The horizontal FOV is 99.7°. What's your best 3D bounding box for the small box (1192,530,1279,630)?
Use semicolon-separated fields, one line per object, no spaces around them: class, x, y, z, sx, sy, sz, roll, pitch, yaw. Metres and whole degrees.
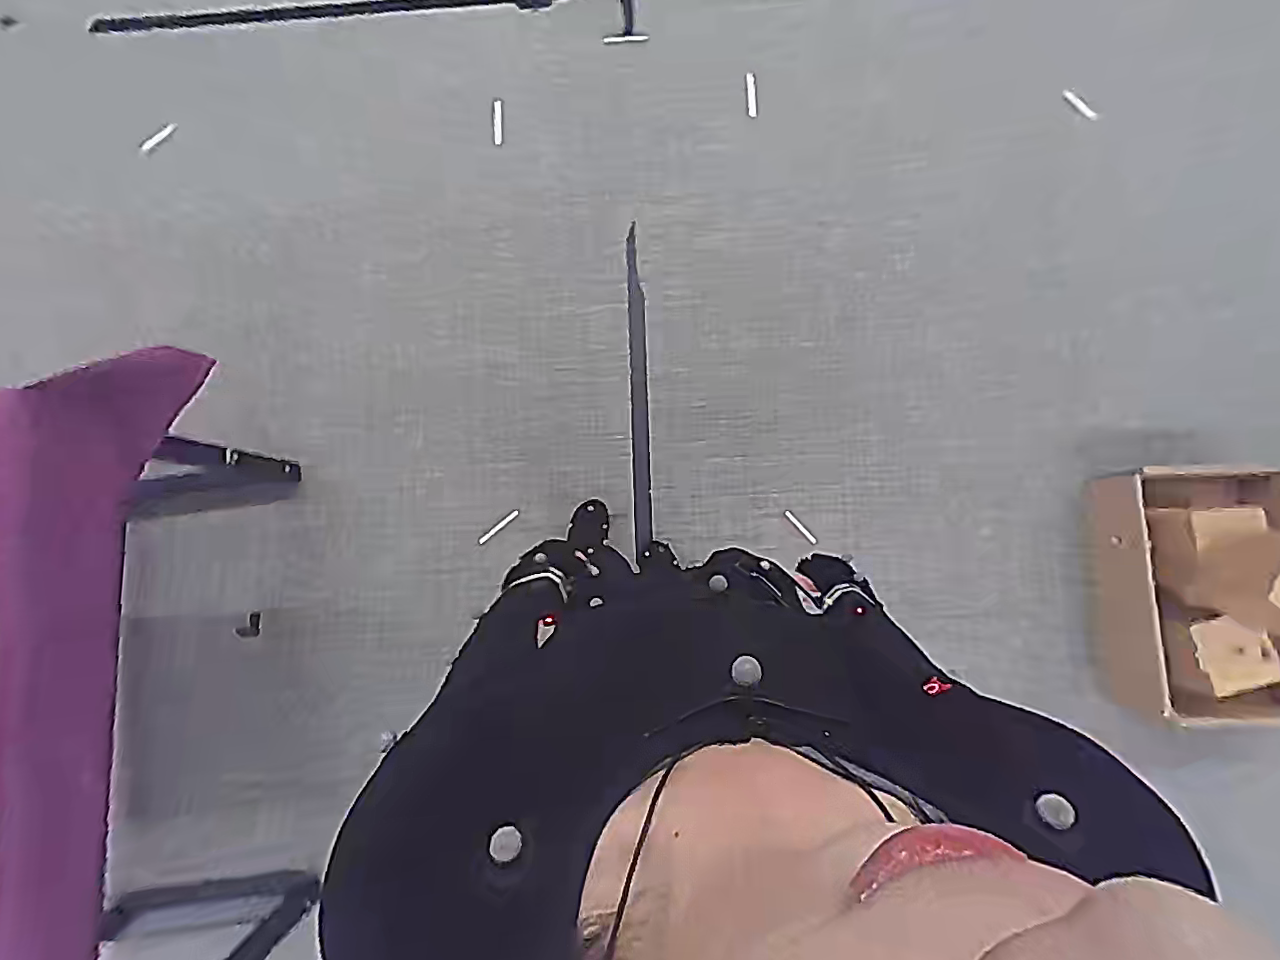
small box;1.413;0.228;1.210;0.168;0.176;0.179;30;83;2

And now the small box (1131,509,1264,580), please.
small box;1.424;0.161;1.381;0.179;0.176;0.168;-4;84;0
